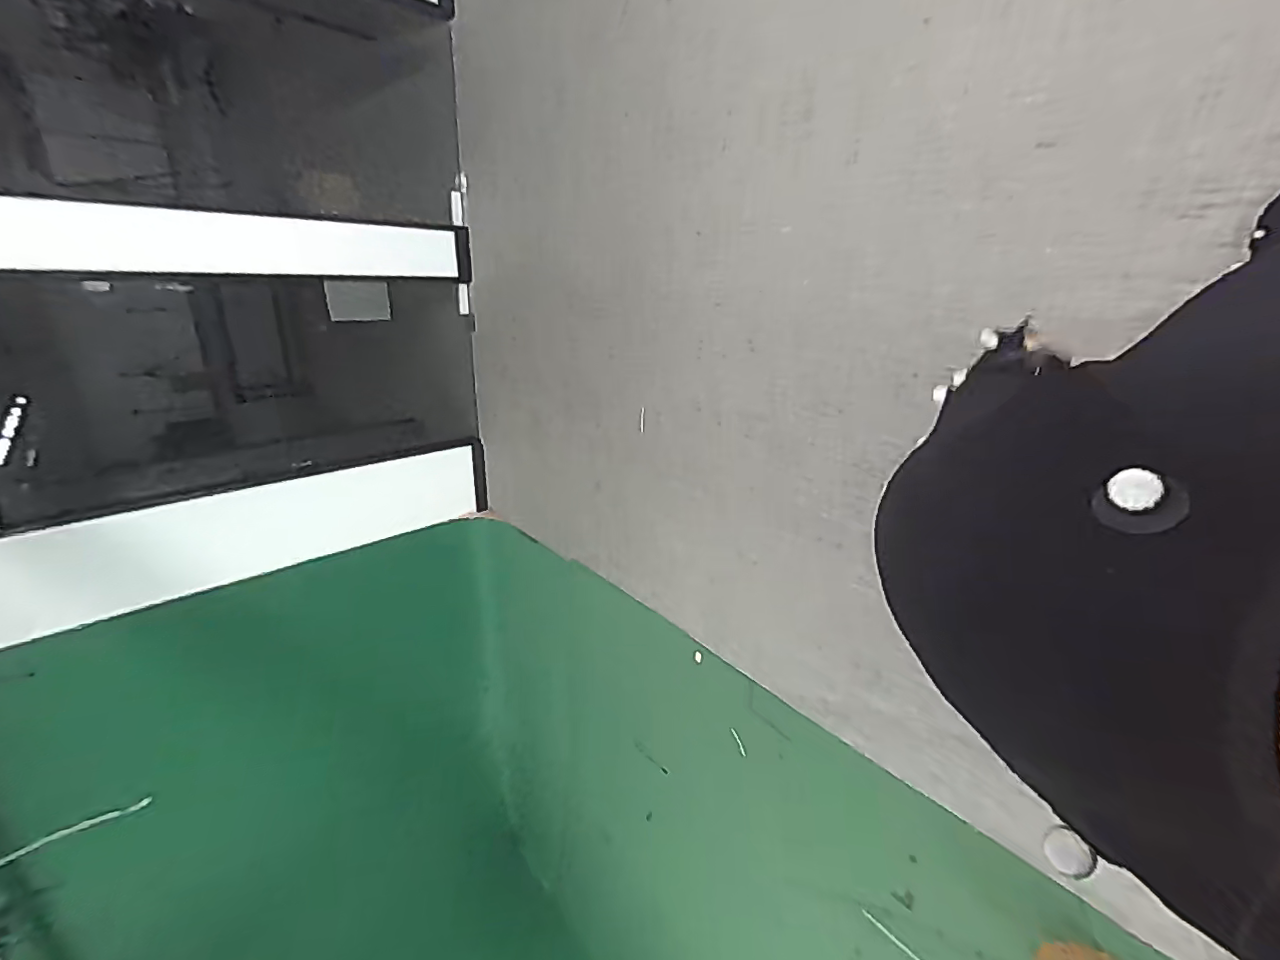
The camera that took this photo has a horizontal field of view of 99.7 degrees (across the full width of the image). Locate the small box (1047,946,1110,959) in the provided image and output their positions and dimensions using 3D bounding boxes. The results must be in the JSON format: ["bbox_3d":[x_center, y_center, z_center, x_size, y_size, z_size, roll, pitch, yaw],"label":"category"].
[{"bbox_3d":[1.149,1.334,1.361,0.168,0.176,0.179,-40,73,48],"label":"small box"}]
